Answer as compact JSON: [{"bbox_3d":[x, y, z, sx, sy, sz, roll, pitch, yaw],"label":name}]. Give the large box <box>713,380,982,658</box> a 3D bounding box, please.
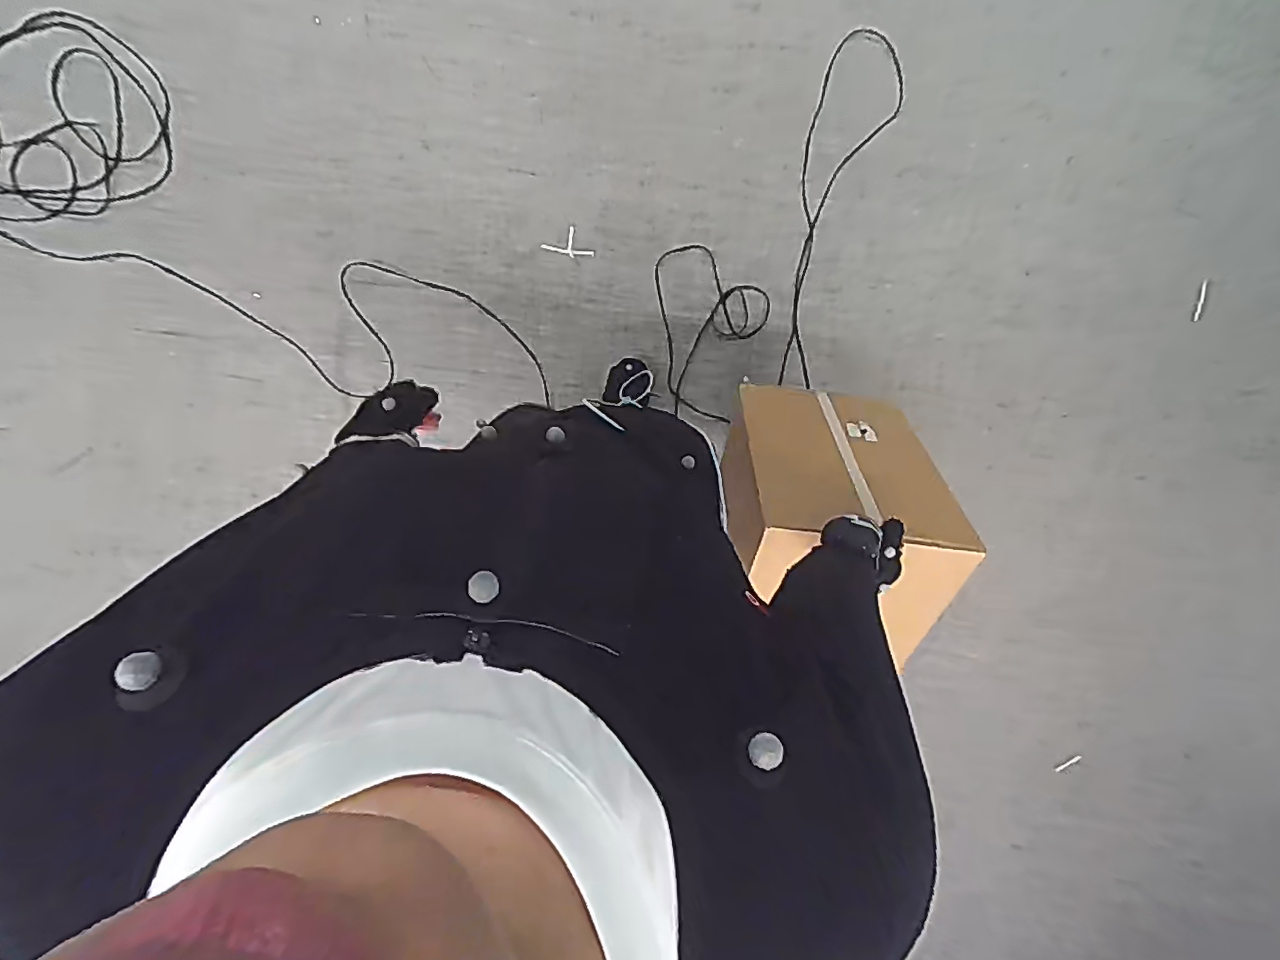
[{"bbox_3d":[0.322,0.063,0.995,0.320,0.408,0.320,8,129,-2],"label":"large box"}]
